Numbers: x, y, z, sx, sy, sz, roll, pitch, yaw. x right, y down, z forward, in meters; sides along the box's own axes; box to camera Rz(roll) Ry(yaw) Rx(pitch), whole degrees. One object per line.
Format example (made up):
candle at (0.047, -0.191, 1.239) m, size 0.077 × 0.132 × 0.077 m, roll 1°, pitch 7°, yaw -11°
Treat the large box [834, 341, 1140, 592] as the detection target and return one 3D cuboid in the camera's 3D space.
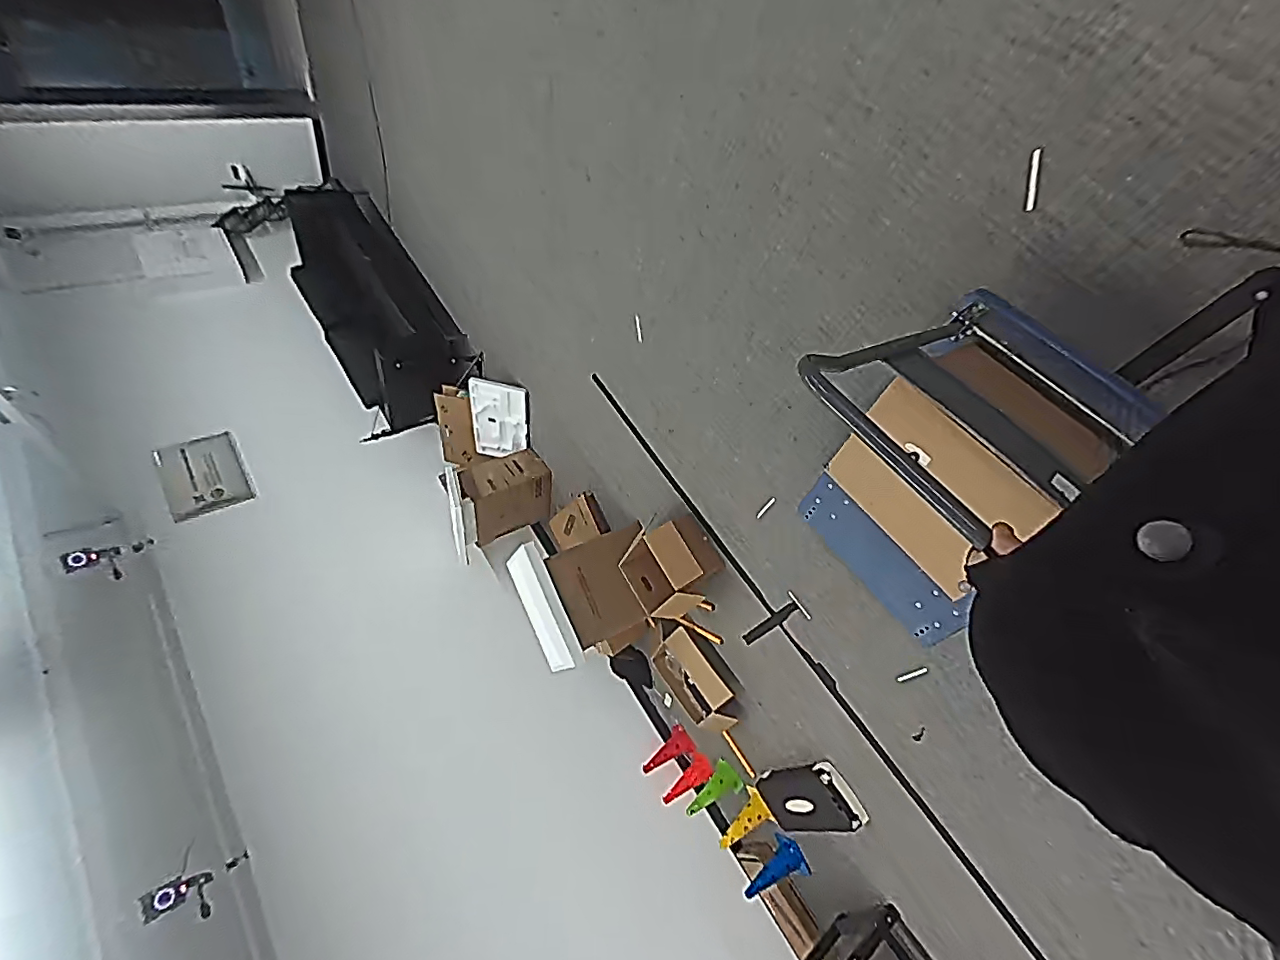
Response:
large box at (0.731, -0.040, 1.187) m, size 0.408 × 0.320 × 0.320 m, roll 53°, pitch 146°, yaw 25°
